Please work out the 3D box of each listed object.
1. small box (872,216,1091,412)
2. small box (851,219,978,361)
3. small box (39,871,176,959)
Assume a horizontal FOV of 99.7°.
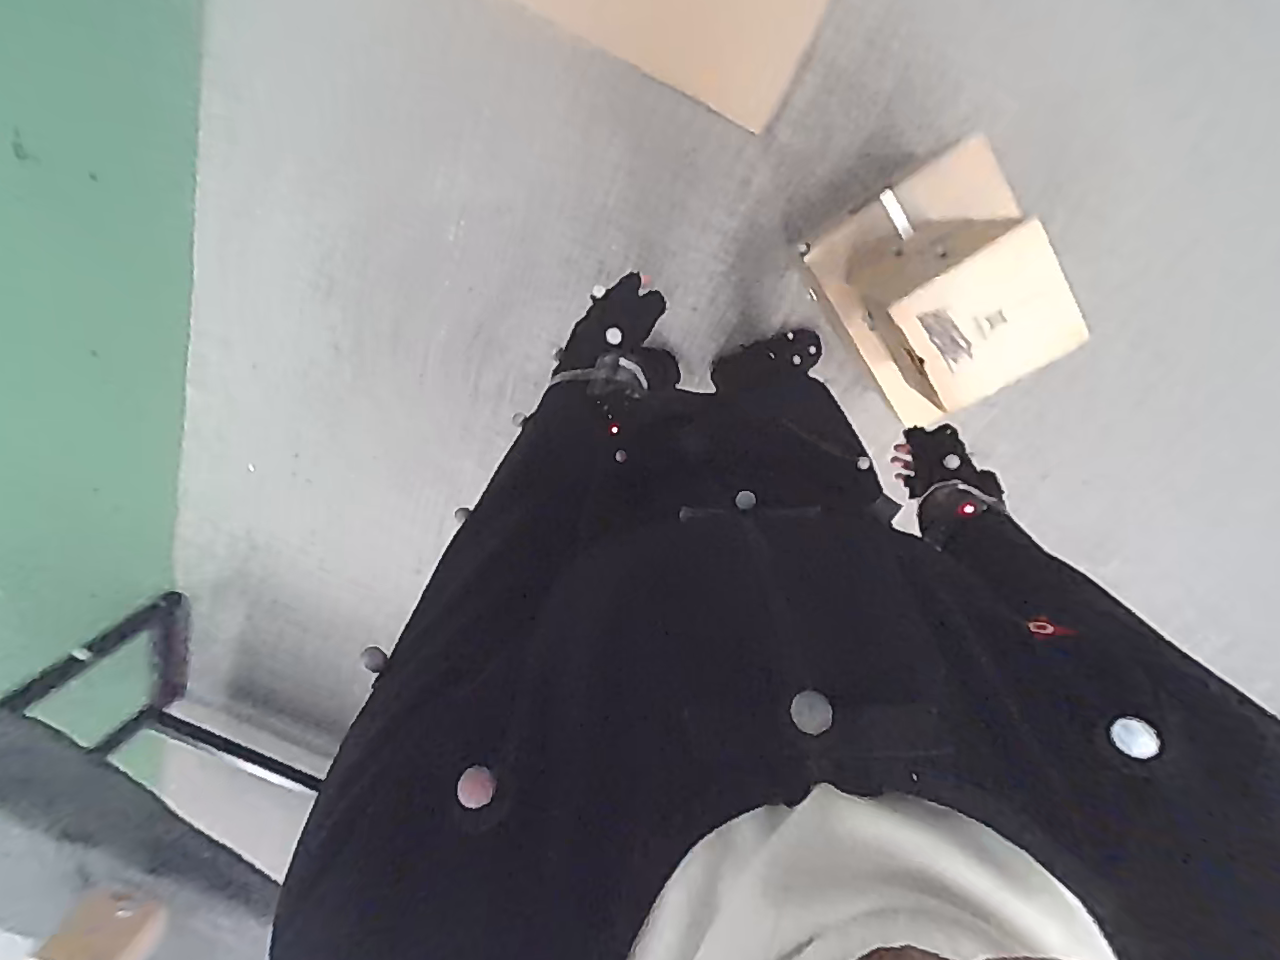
[{"bbox_3d":[0.432,-0.220,0.721,0.179,0.176,0.168,-31,105,19],"label":"small box"},{"bbox_3d":[0.469,-0.287,0.871,0.168,0.176,0.179,-37,104,20],"label":"small box"},{"bbox_3d":[-1.256,1.085,1.286,0.168,0.176,0.179,25,114,-3],"label":"small box"}]
